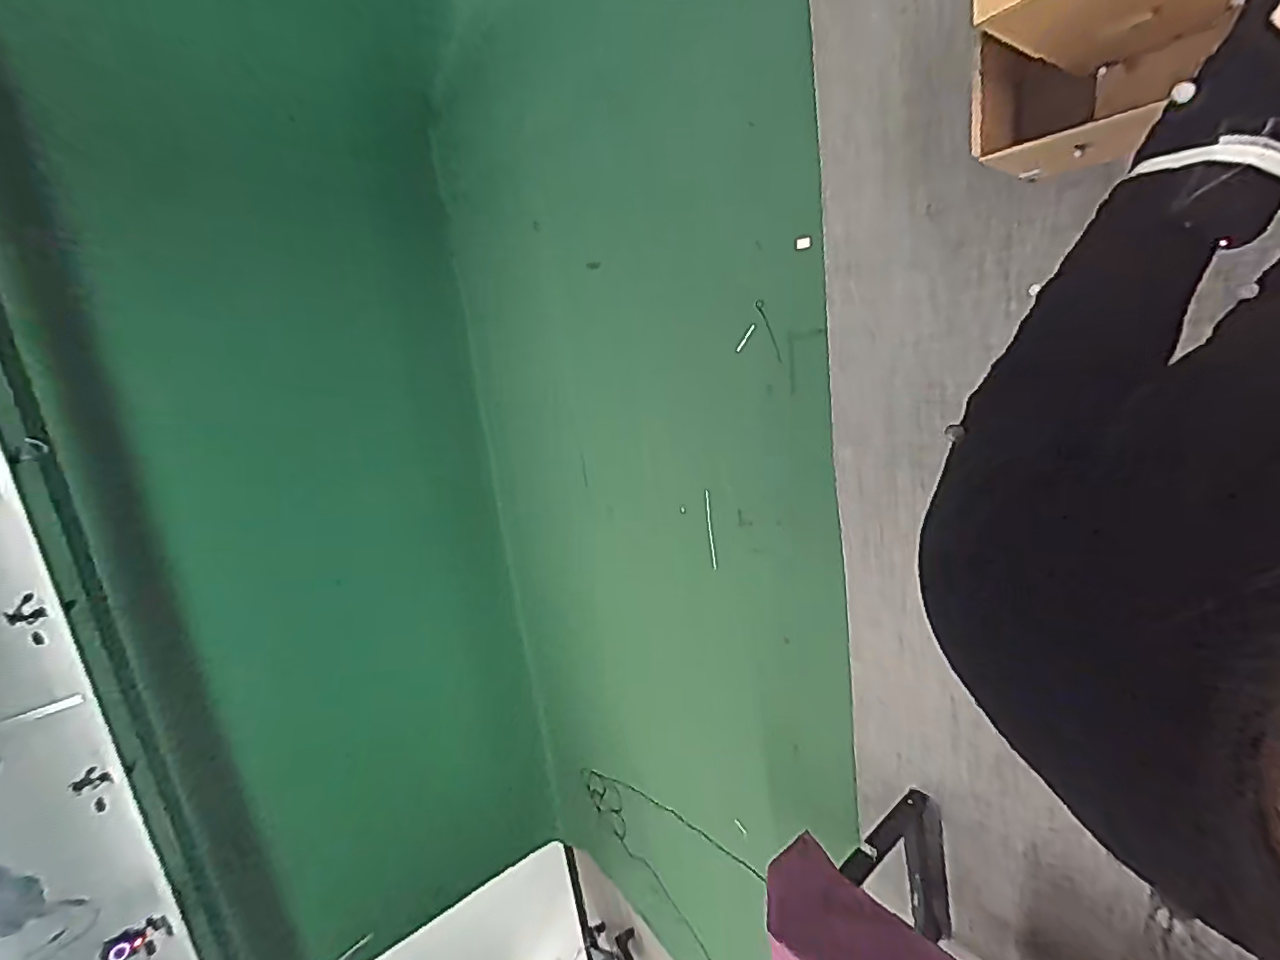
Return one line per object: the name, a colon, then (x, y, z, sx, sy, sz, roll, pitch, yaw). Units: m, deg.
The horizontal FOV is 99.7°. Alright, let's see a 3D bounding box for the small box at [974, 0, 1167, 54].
small box: (0.473, -0.582, 0.553, 0.179, 0.176, 0.168, 9, 110, 53)
